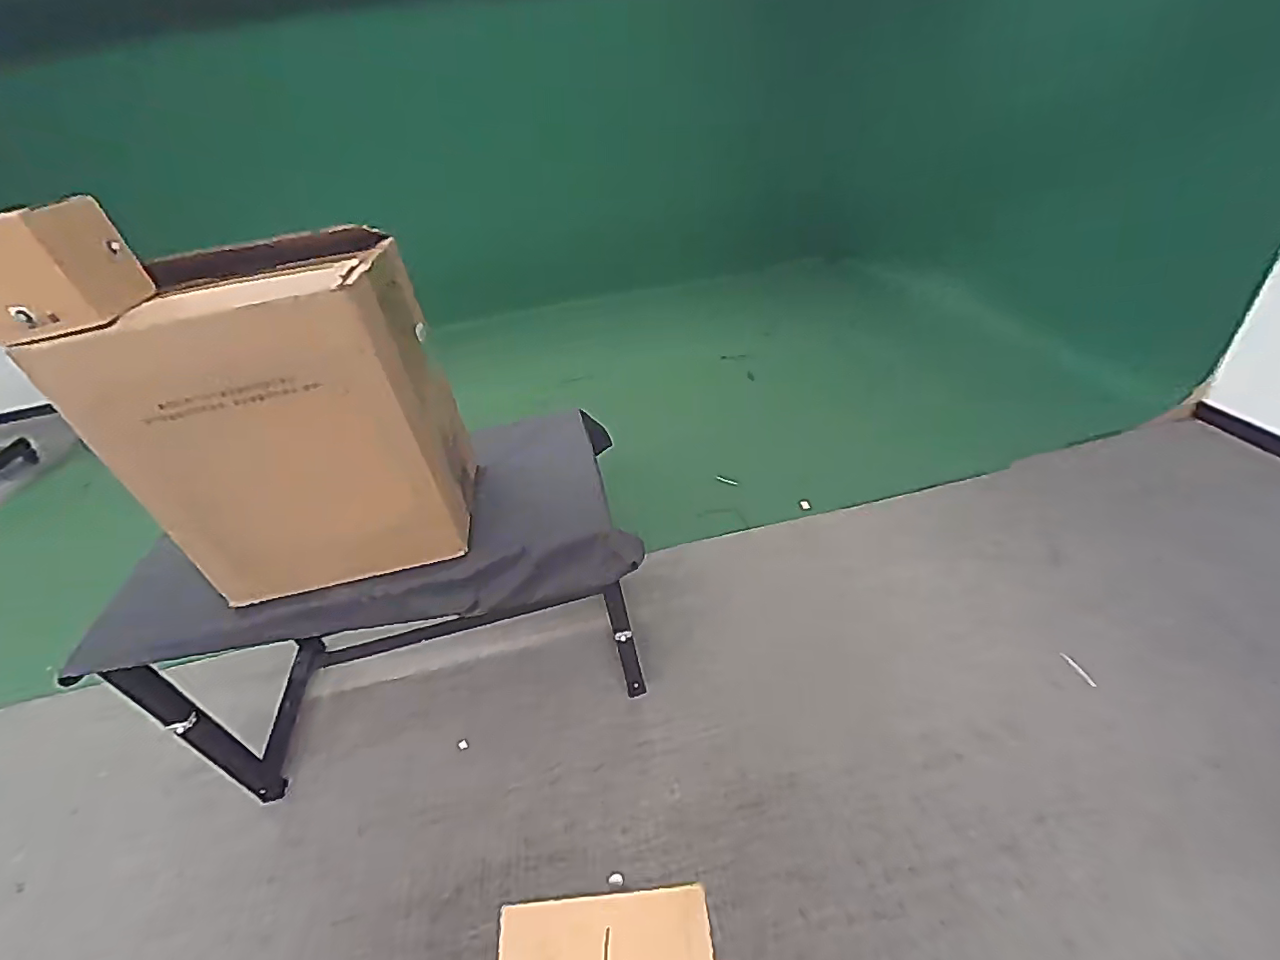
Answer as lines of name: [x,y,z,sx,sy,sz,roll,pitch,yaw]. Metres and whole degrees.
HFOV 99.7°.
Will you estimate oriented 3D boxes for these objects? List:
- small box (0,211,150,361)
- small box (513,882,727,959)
small box: [-0.957,-0.314,0.871,0.168,0.176,0.179,-16,38,-4]
small box: [-0.010,0.449,0.444,0.168,0.176,0.179,-4,50,-3]
